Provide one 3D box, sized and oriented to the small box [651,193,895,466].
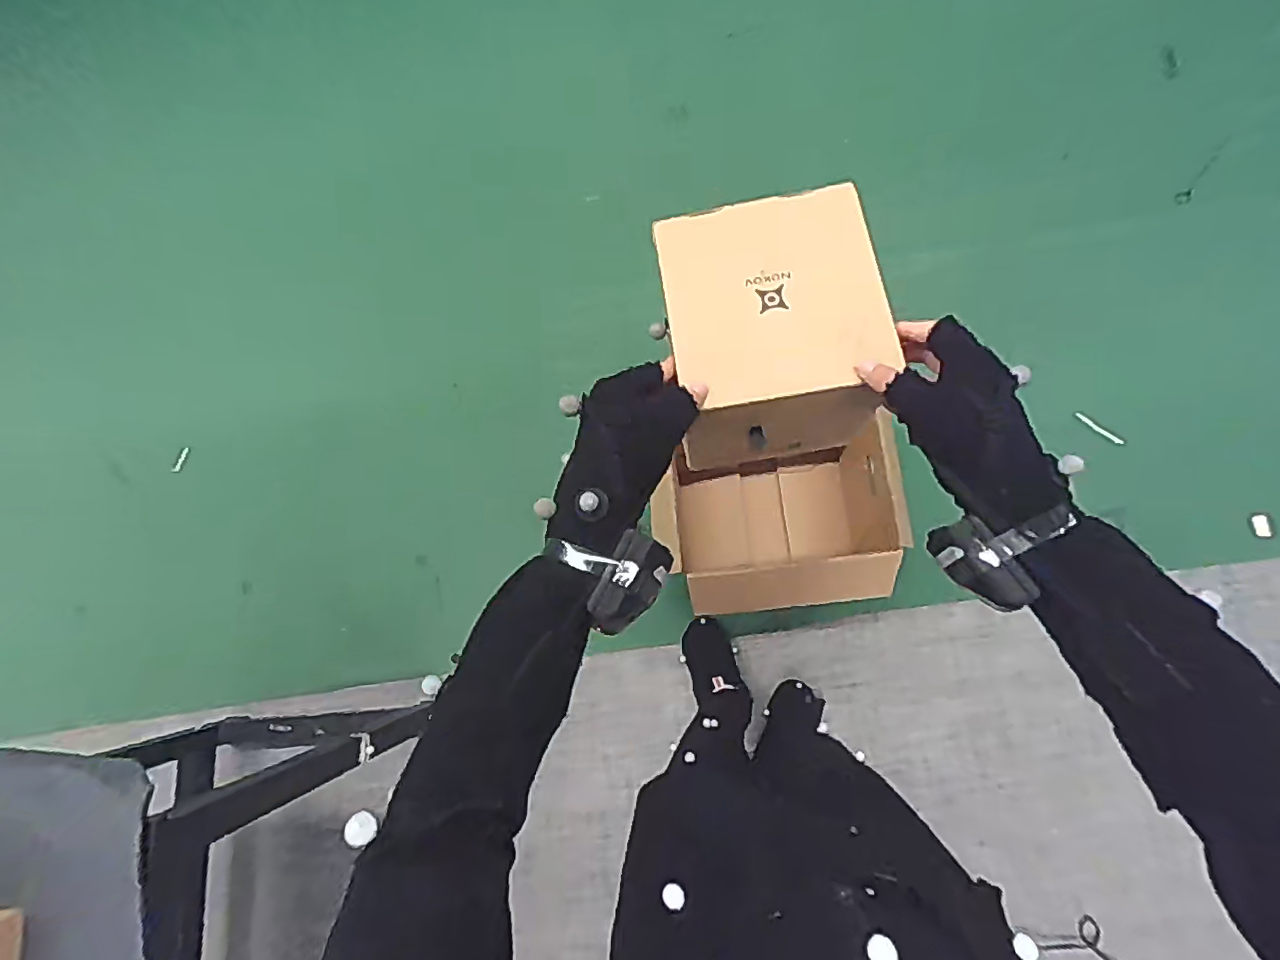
[{"bbox_3d":[0.110,-0.119,0.502,0.168,0.176,0.179,-9,74,5],"label":"small box"}]
